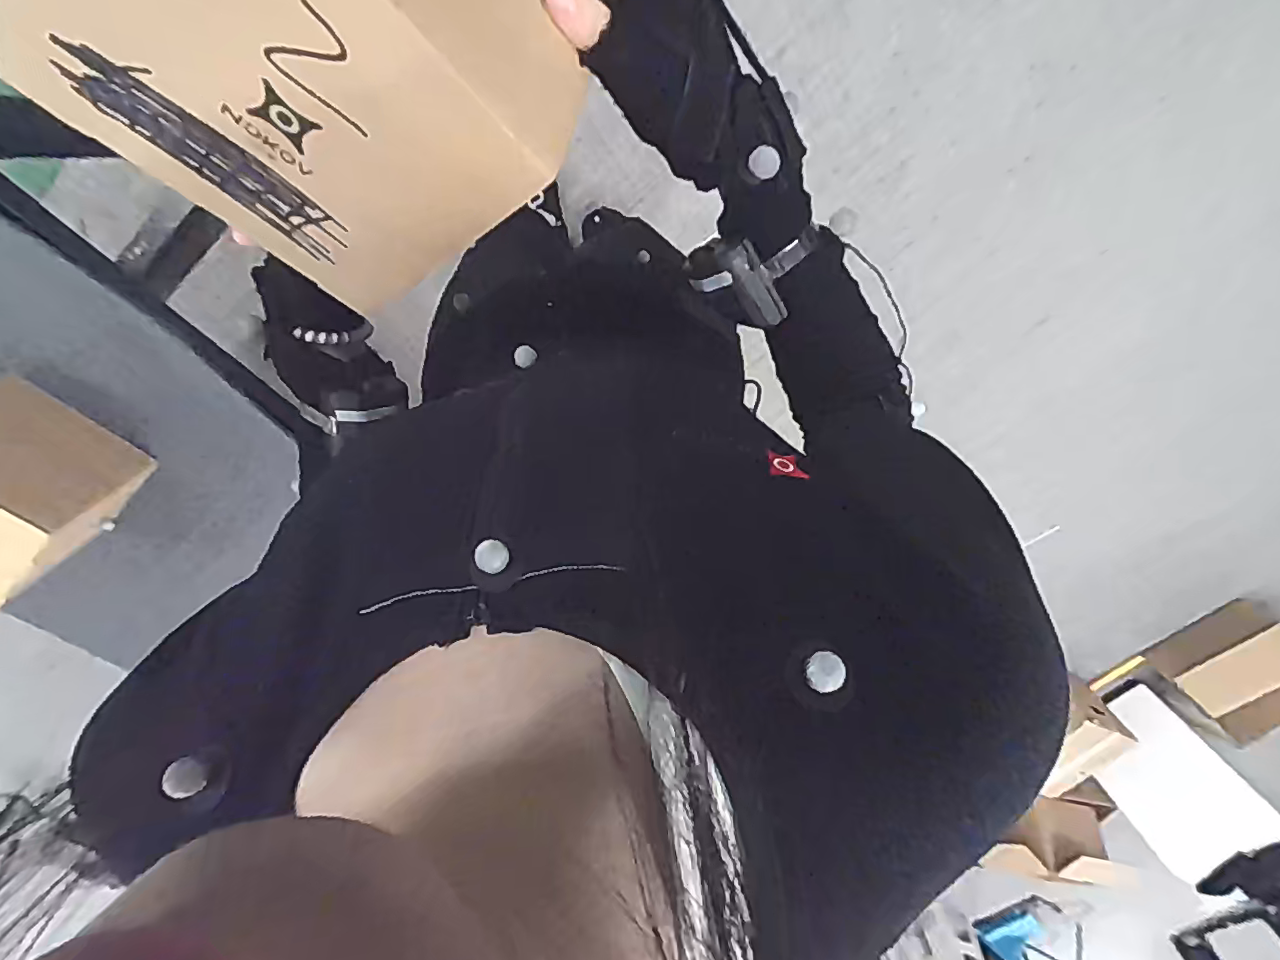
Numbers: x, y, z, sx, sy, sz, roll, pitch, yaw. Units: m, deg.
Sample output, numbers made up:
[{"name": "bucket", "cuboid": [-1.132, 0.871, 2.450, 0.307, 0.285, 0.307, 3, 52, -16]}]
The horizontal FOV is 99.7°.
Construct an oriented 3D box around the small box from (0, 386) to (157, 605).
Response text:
[{"name": "small box", "cuboid": [-0.751, 0.011, 0.640, 0.168, 0.176, 0.179, -38, 117, 17]}]
